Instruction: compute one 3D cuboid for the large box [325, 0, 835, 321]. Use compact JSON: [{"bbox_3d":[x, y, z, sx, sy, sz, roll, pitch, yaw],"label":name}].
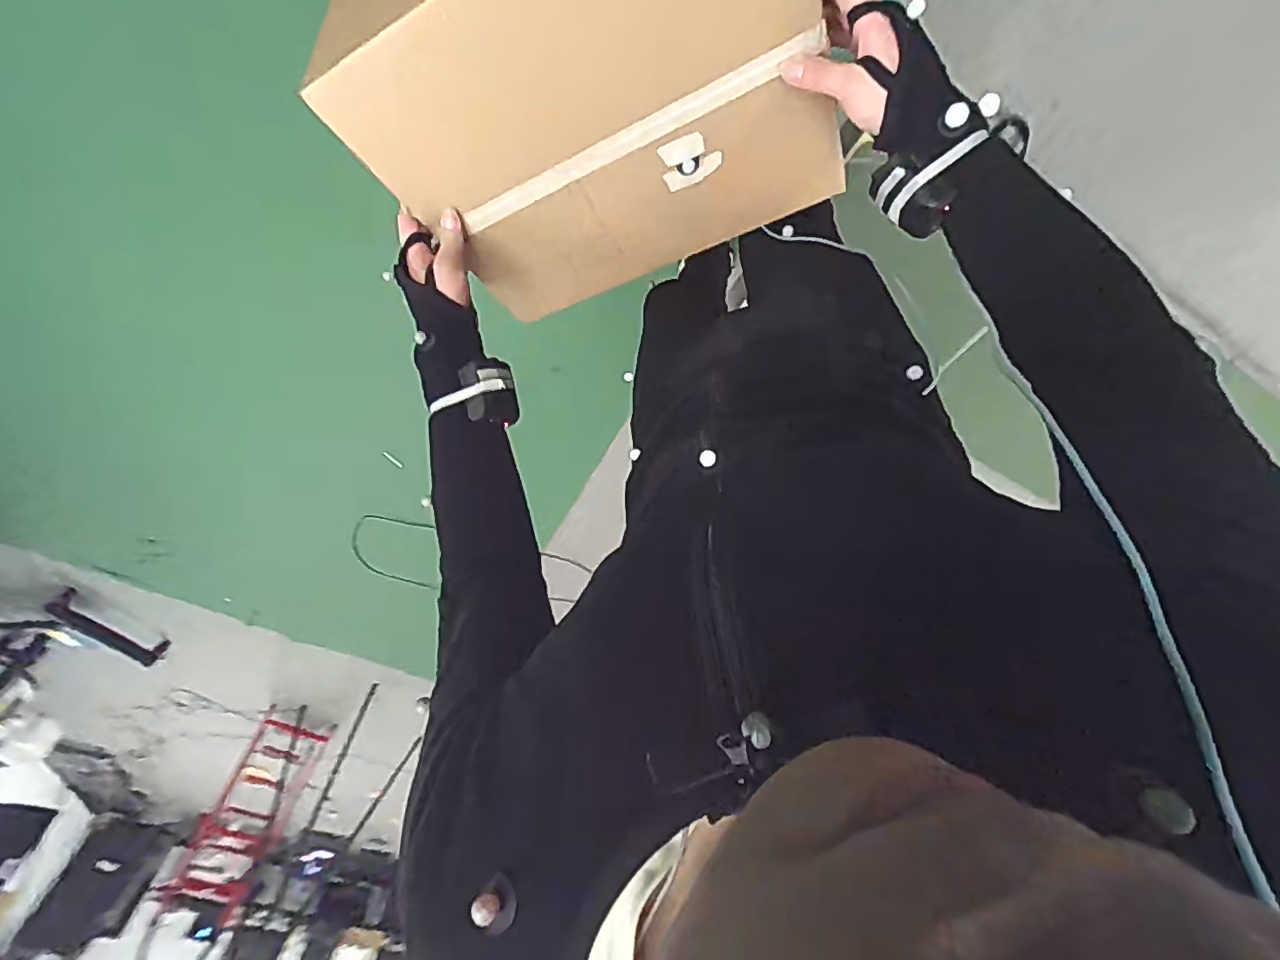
[{"bbox_3d":[-0.047,-0.448,0.586,0.408,0.320,0.320,-16,152,20],"label":"large box"}]
